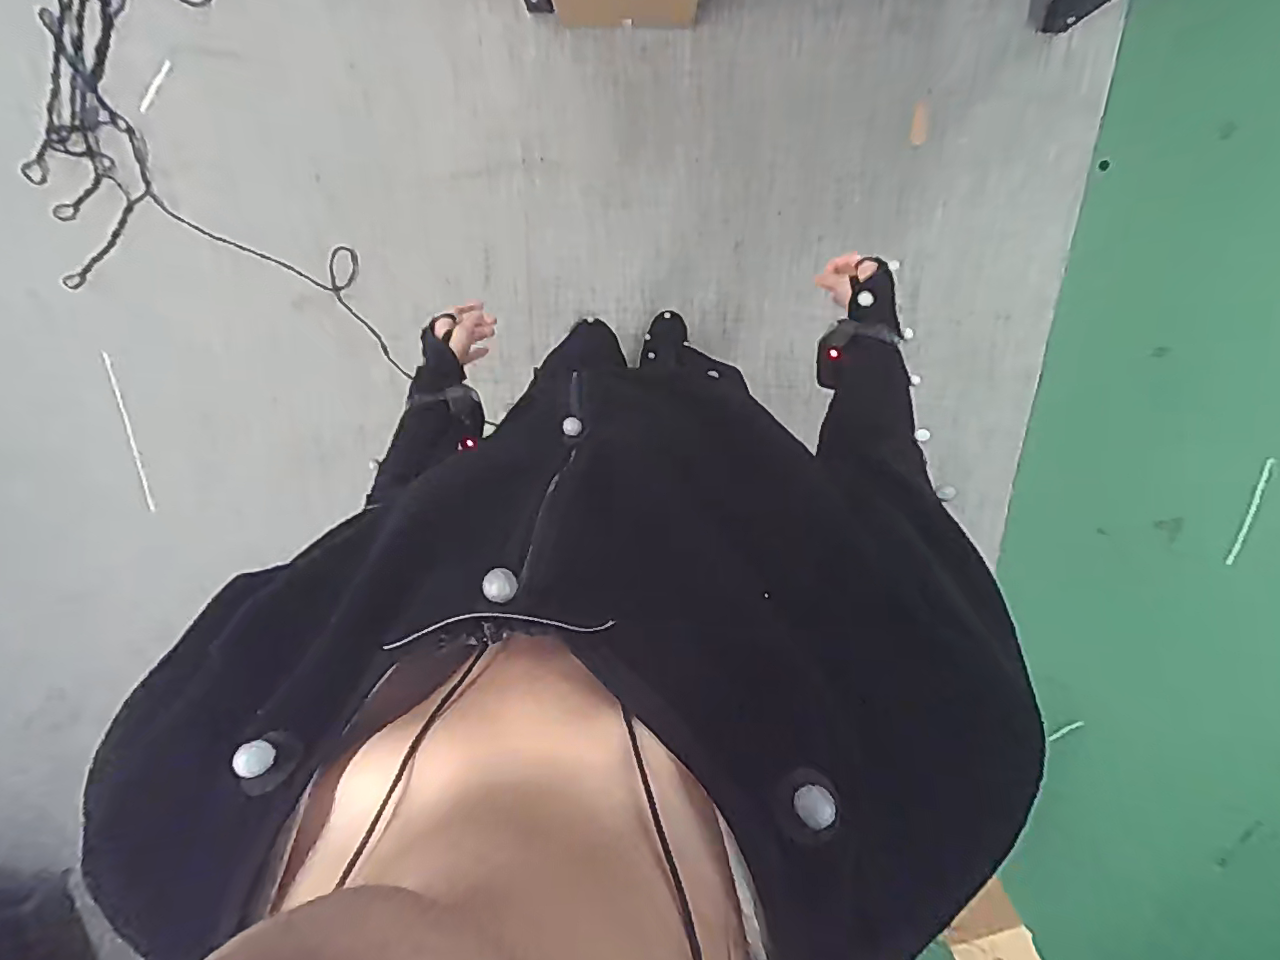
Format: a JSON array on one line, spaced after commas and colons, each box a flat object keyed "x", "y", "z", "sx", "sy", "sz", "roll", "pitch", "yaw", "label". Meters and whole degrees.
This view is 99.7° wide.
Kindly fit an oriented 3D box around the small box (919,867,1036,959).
[{"x": 0.777, "y": 1.040, "z": 1.236, "sx": 0.168, "sy": 0.176, "sz": 0.179, "roll": -26, "pitch": 103, "yaw": 9, "label": "small box"}]

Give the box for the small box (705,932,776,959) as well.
[{"x": 0.277, "y": 1.324, "z": 1.407, "sx": 0.168, "sy": 0.176, "sz": 0.179, "roll": -22, "pitch": 105, "yaw": 10, "label": "small box"}]

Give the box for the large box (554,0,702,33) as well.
[{"x": -0.025, "y": -1.150, "z": 1.017, "sx": 0.320, "sy": 0.320, "sz": 0.408, "roll": 2, "pitch": 109, "yaw": 2, "label": "large box"}]
